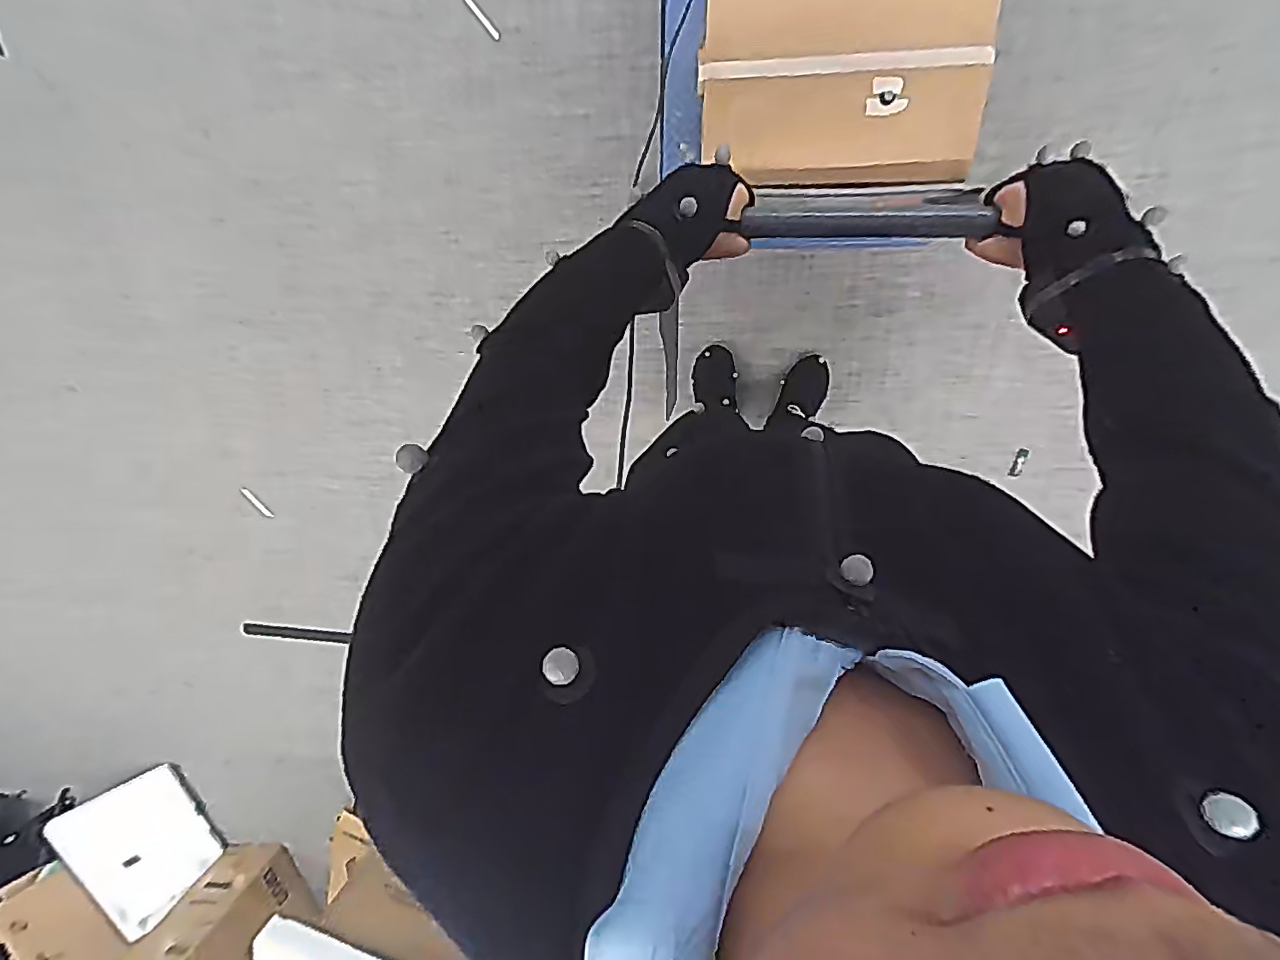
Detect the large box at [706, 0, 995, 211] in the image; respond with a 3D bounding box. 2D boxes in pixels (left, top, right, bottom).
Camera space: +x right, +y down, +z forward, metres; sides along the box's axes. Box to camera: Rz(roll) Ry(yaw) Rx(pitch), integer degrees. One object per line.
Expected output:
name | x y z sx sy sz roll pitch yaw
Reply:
large box | 0.321 -0.665 0.942 0.408 0.320 0.320 3 111 8
